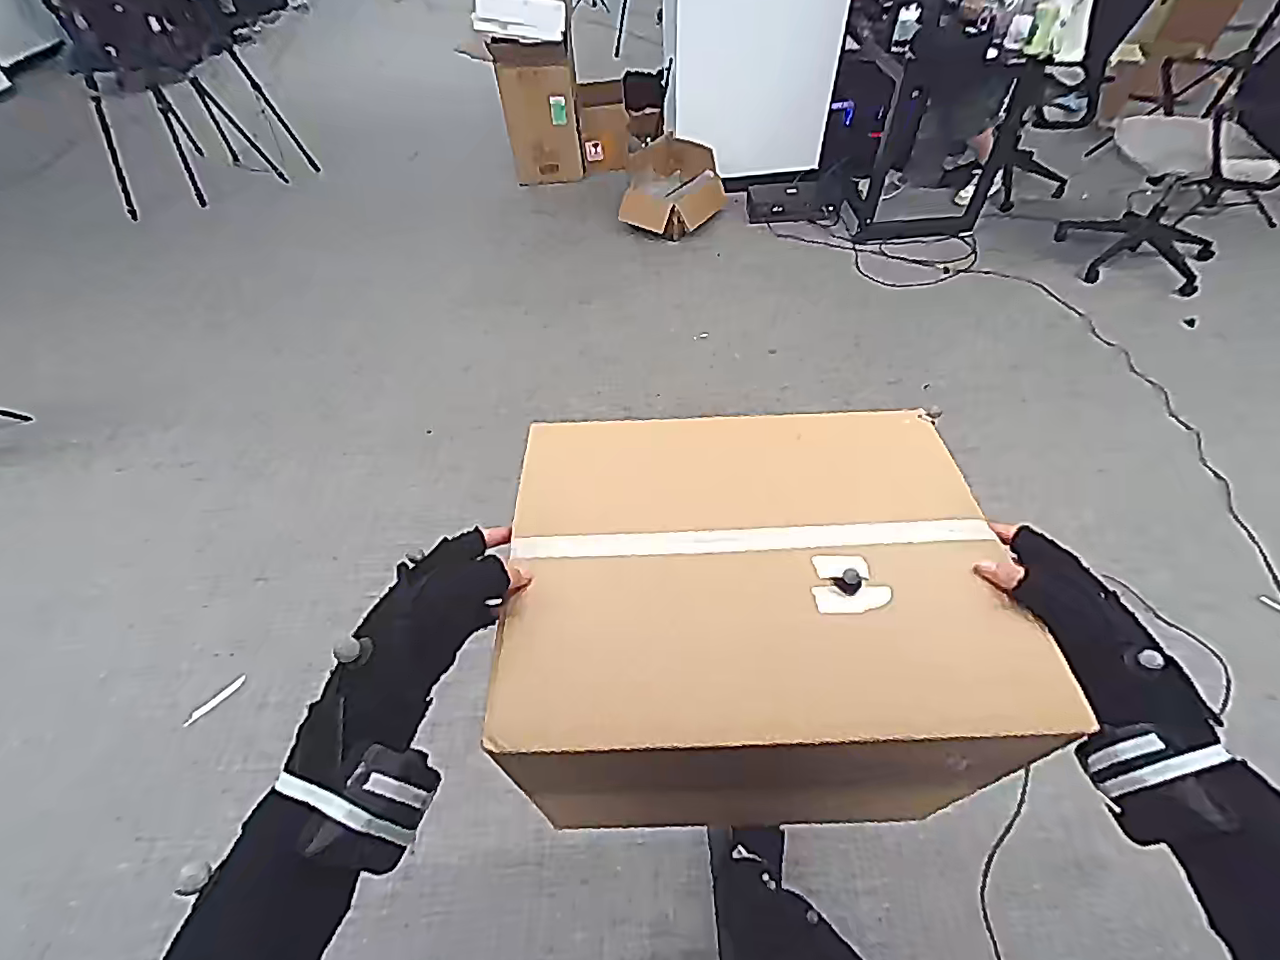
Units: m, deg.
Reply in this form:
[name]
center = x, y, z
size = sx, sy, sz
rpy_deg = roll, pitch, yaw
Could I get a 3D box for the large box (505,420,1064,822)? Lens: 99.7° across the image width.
[large box]
center = 0.099, 0.156, 0.585
size = 0.408, 0.320, 0.320
rpy_deg = -2, 49, 0
